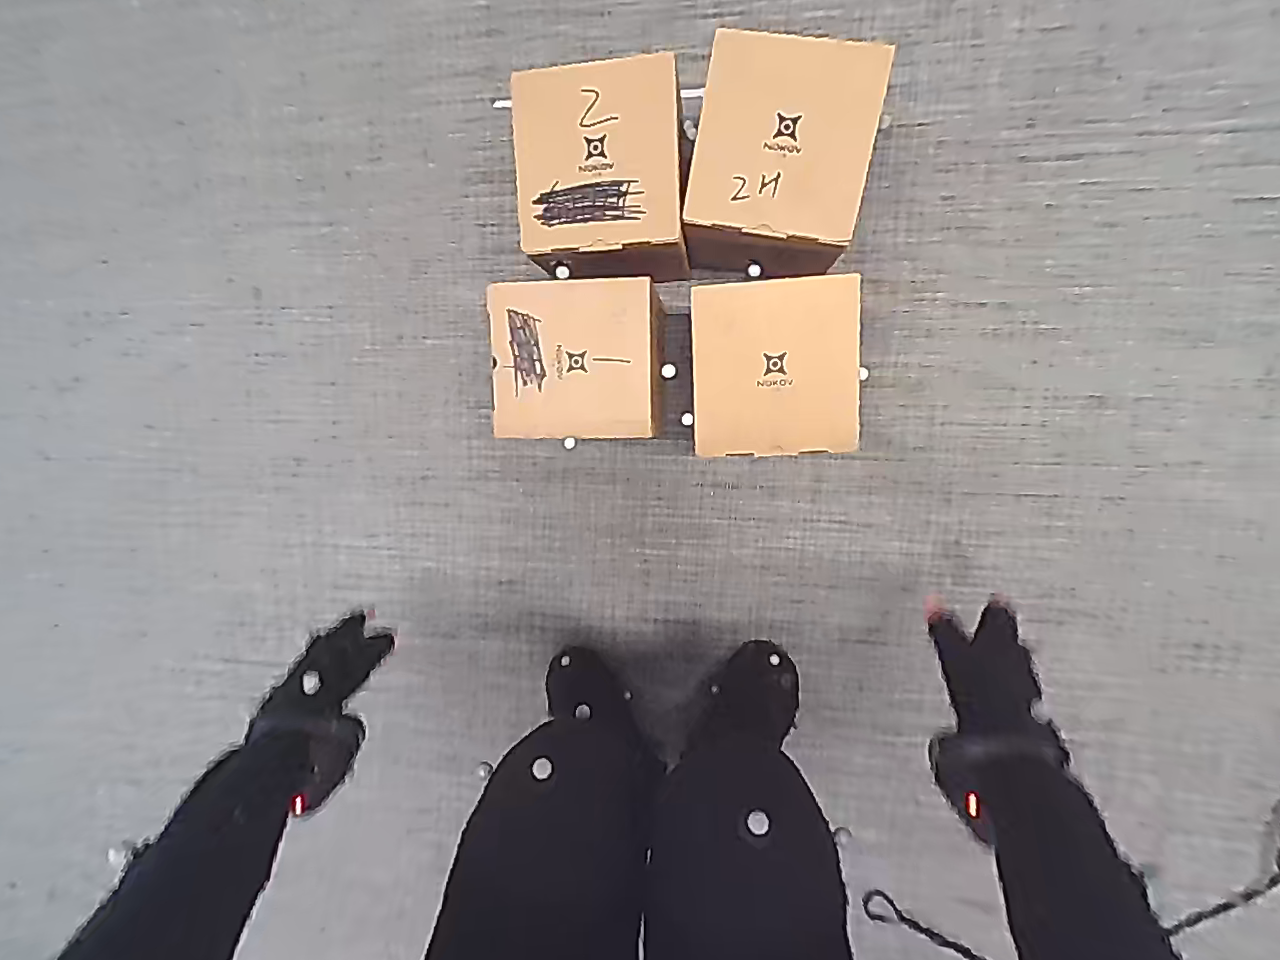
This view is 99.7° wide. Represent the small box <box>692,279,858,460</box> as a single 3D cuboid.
[{"bbox_3d":[0.145,-0.119,0.626,0.168,0.176,0.179,-2,98,8],"label":"small box"}]
